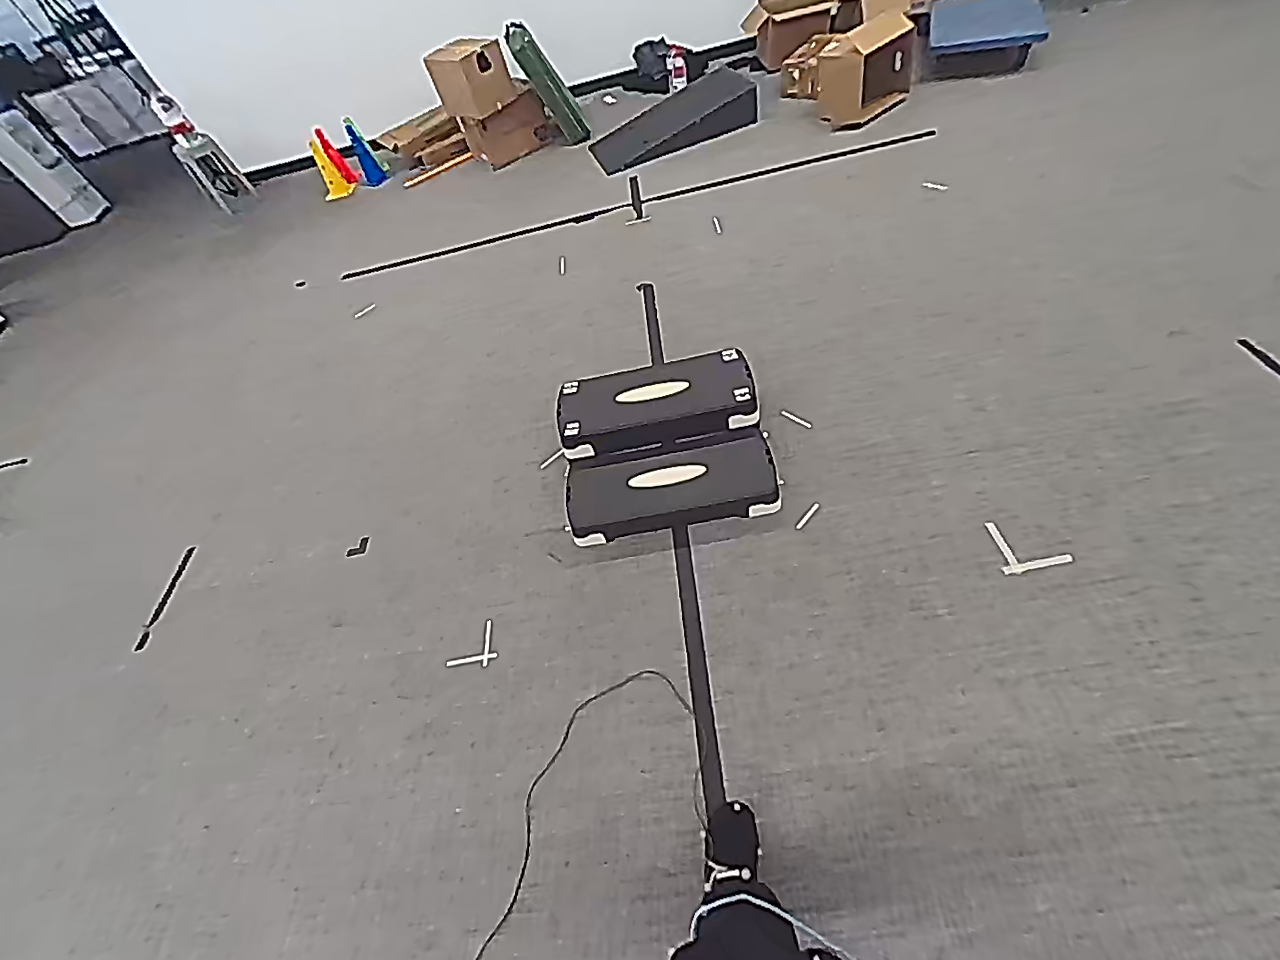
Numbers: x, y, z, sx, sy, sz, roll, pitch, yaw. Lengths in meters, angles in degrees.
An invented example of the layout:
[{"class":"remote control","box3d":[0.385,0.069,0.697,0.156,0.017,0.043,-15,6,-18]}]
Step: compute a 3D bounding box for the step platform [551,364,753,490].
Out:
[{"class":"step platform","box3d":[0.037,-0.185,1.868,0.684,0.204,0.286,-11,52,4]}]
